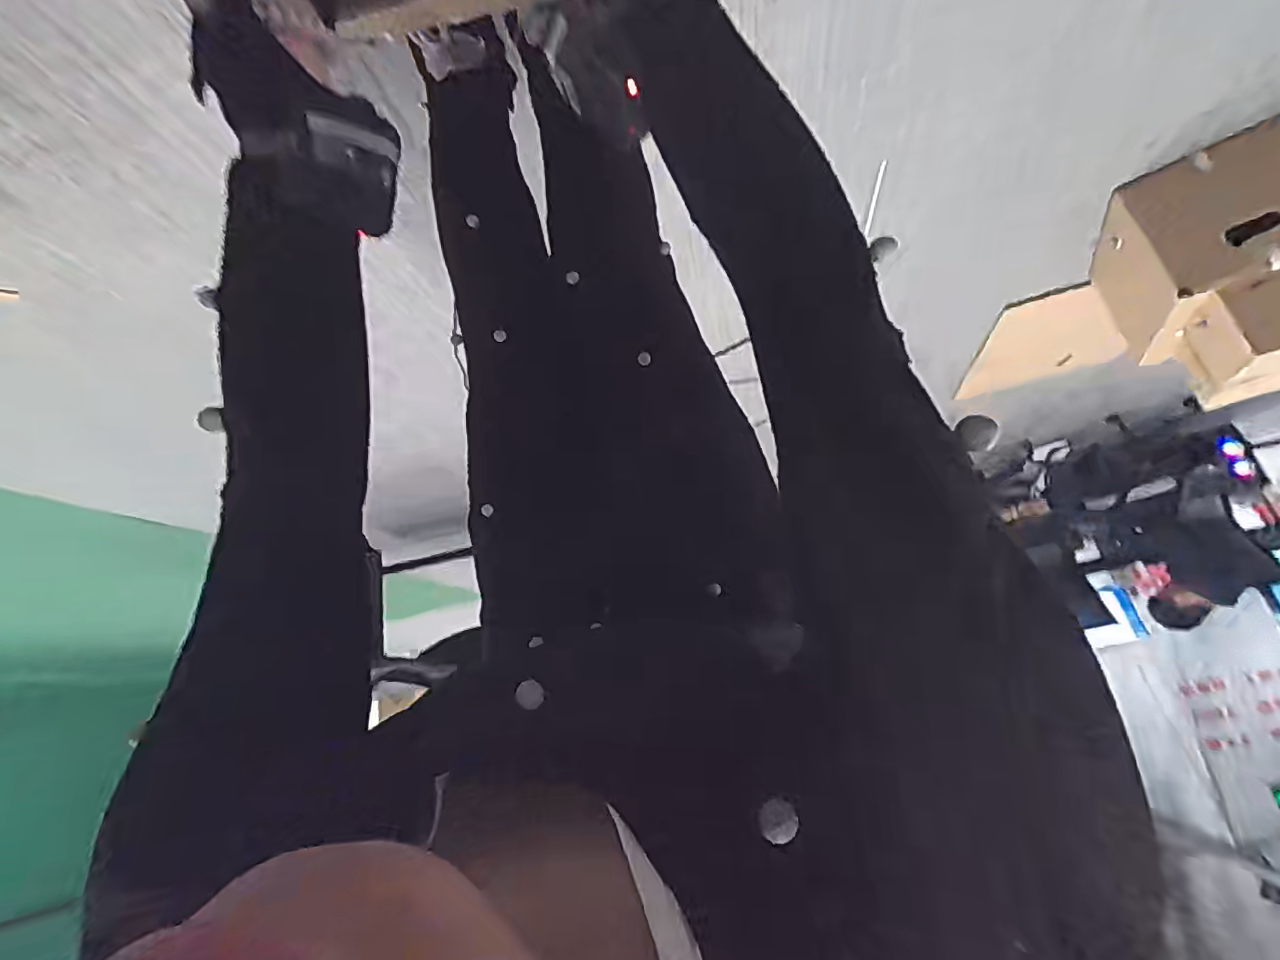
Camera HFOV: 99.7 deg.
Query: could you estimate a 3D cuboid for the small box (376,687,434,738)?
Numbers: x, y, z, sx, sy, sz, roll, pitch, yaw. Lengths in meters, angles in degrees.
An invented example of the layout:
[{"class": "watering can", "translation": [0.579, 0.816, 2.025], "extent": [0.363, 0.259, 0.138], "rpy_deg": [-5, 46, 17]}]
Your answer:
[{"class": "small box", "translation": [-0.993, 0.979, 2.293], "extent": [0.168, 0.176, 0.179], "rpy_deg": [-13, 160, 4]}]
